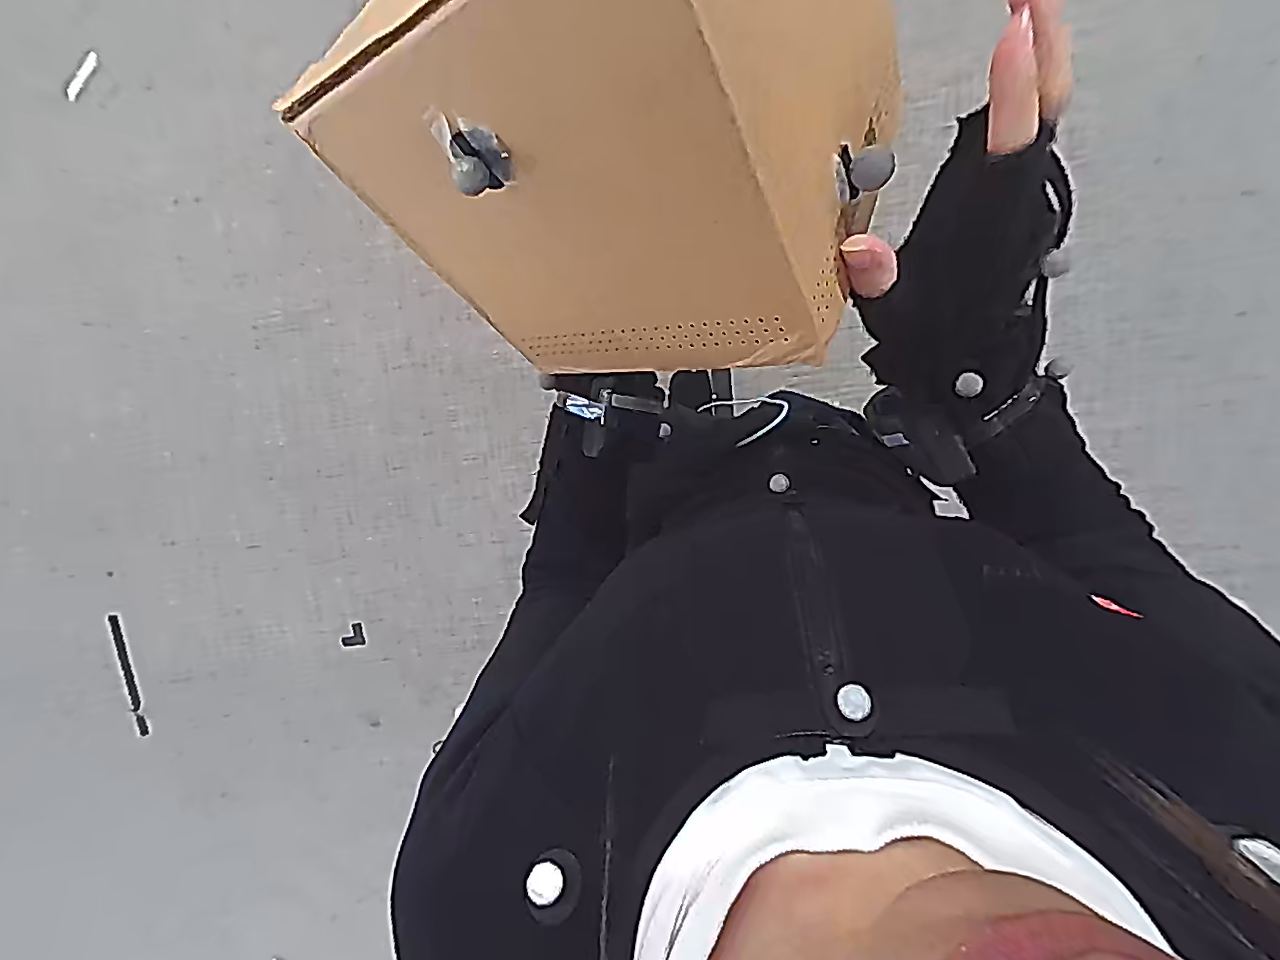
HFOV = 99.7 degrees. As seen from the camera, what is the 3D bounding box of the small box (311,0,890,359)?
[{"bbox_3d":[-0.001,-0.172,0.257,0.179,0.176,0.168,7,68,37],"label":"small box"}]
